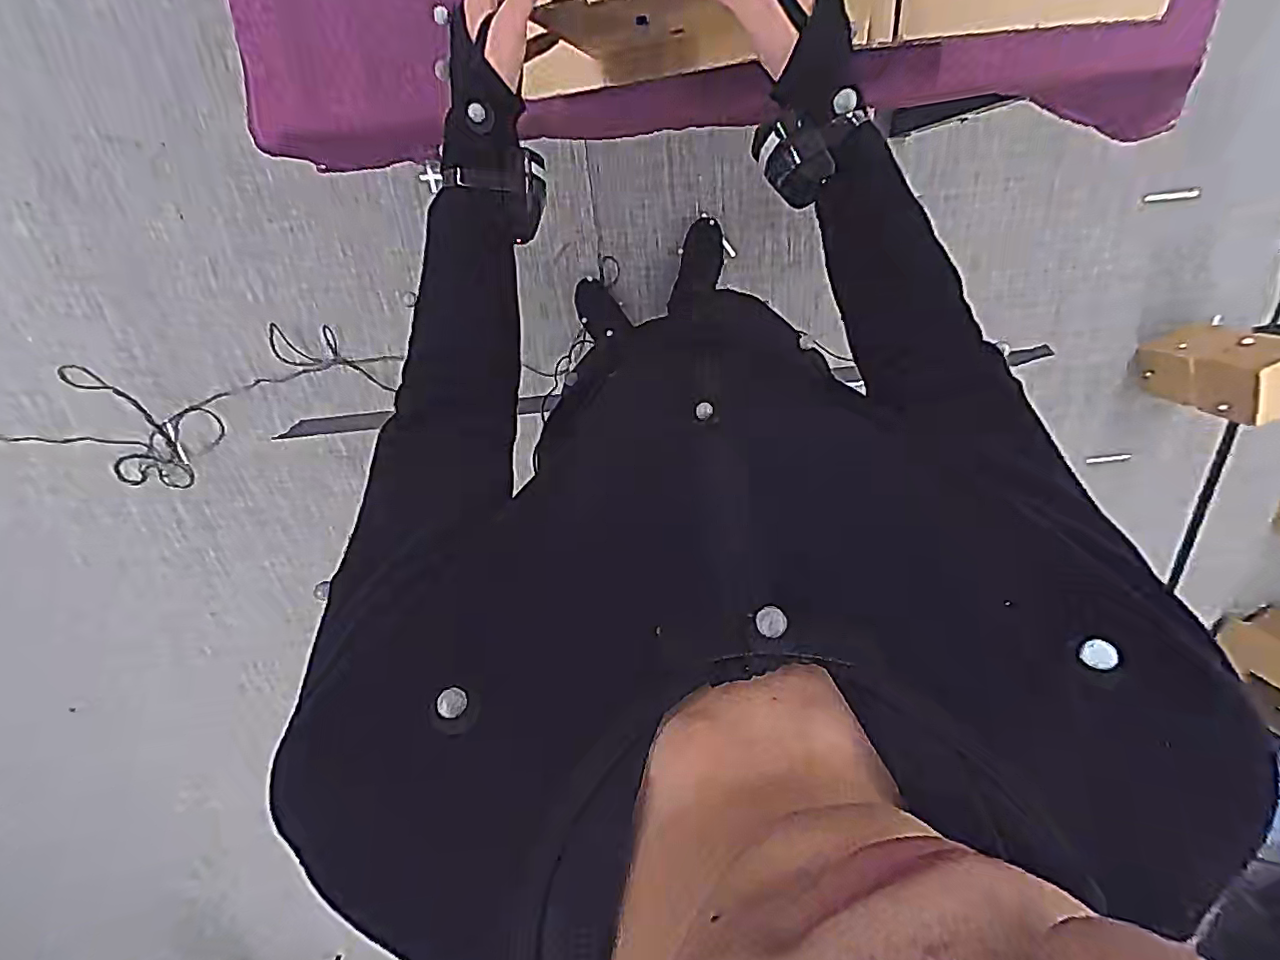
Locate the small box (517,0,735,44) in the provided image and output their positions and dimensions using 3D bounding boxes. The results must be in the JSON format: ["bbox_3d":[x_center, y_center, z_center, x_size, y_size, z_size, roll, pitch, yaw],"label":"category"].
[{"bbox_3d":[-0.011,-0.500,0.458,0.168,0.176,0.179,2,118,17],"label":"small box"}]
